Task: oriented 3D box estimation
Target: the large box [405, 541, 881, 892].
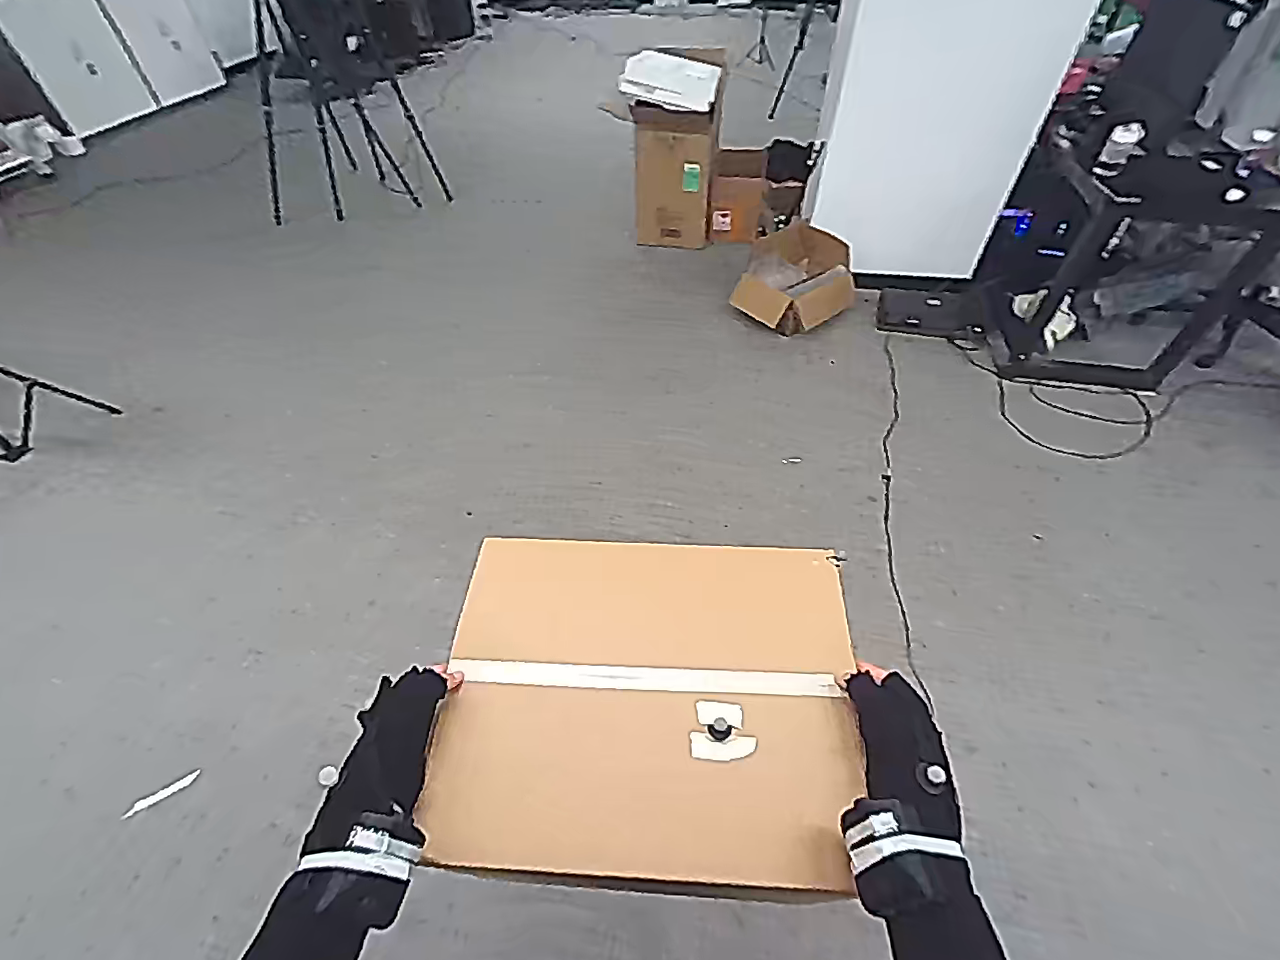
[{"bbox_3d":[0.006,0.289,0.651,0.408,0.320,0.320,2,51,3],"label":"large box"}]
